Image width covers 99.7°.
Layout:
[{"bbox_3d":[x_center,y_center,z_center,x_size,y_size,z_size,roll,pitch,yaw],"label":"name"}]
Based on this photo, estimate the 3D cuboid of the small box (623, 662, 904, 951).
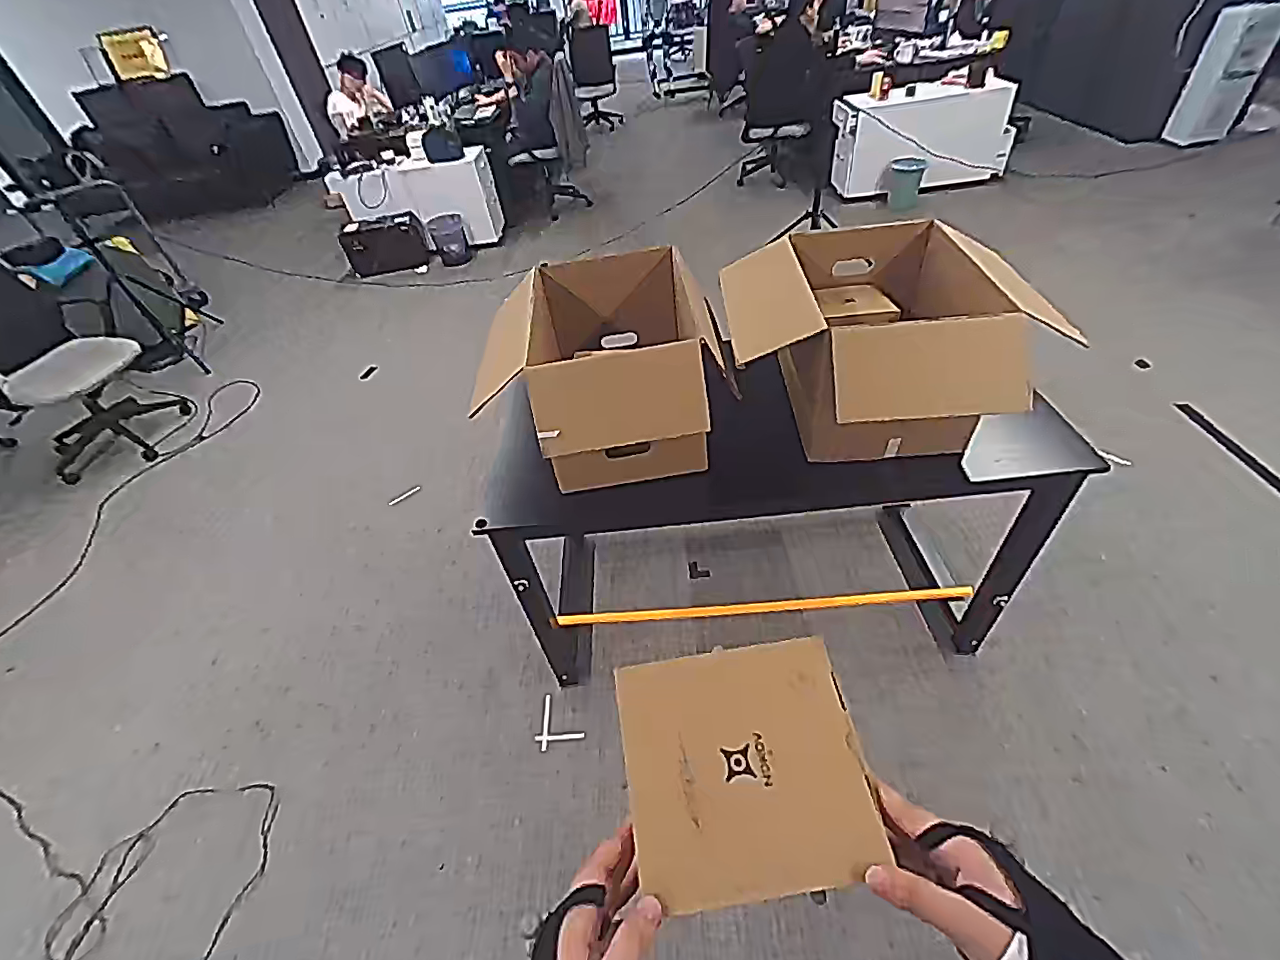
[{"bbox_3d":[0.088,0.274,0.470,0.179,0.176,0.168,-11,56,-1],"label":"small box"}]
